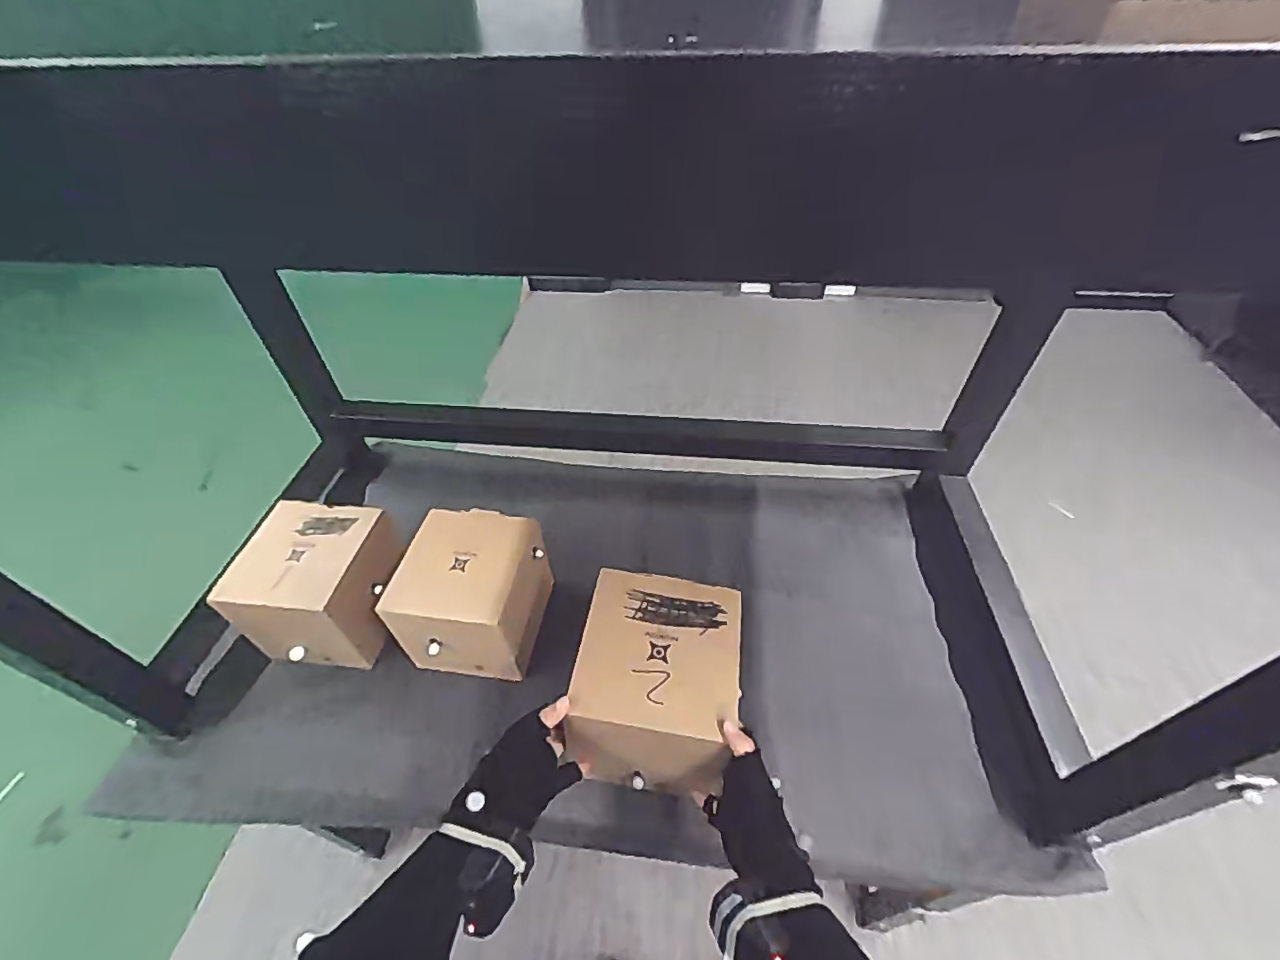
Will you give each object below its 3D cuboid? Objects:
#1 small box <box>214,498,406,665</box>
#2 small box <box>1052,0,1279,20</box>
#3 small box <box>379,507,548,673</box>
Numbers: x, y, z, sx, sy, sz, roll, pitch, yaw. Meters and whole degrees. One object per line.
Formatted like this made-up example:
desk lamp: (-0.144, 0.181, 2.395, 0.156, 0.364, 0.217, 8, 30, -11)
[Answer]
small box: (-0.468, 0.151, 0.813, 0.168, 0.176, 0.179, 4, 46, 6)
small box: (0.259, -0.259, 0.171, 0.168, 0.176, 0.179, 13, 47, 14)
small box: (-0.241, 0.164, 0.798, 0.168, 0.176, 0.179, 5, 46, 6)
